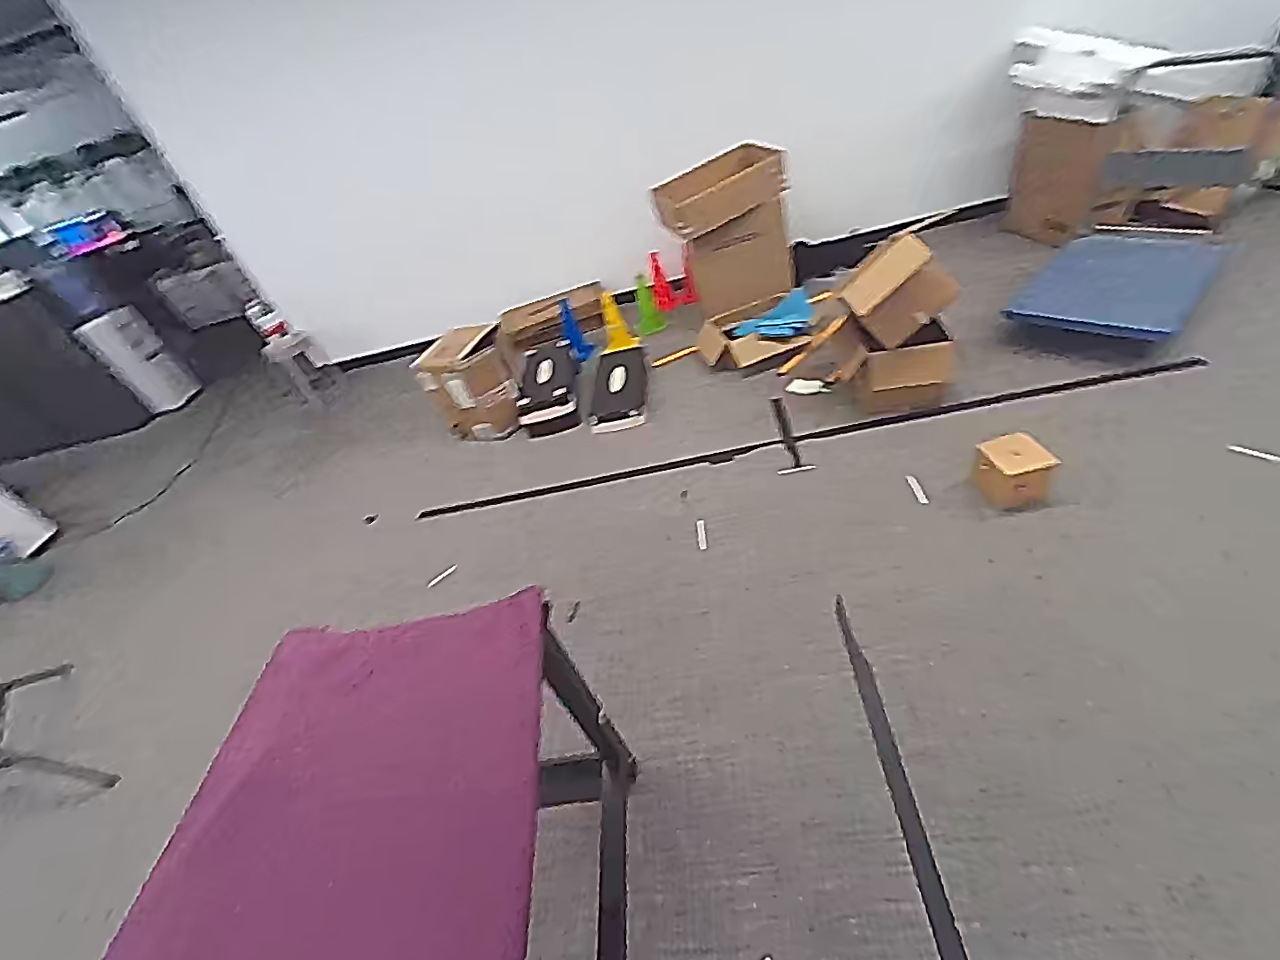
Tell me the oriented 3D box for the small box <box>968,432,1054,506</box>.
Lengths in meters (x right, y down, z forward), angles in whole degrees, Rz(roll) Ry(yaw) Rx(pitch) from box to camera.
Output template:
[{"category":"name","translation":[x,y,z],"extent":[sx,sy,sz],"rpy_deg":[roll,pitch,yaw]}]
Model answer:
[{"category":"small box","translation":[1.248,-0.029,1.833],"extent":[0.168,0.176,0.179],"rpy_deg":[-16,39,3]}]
